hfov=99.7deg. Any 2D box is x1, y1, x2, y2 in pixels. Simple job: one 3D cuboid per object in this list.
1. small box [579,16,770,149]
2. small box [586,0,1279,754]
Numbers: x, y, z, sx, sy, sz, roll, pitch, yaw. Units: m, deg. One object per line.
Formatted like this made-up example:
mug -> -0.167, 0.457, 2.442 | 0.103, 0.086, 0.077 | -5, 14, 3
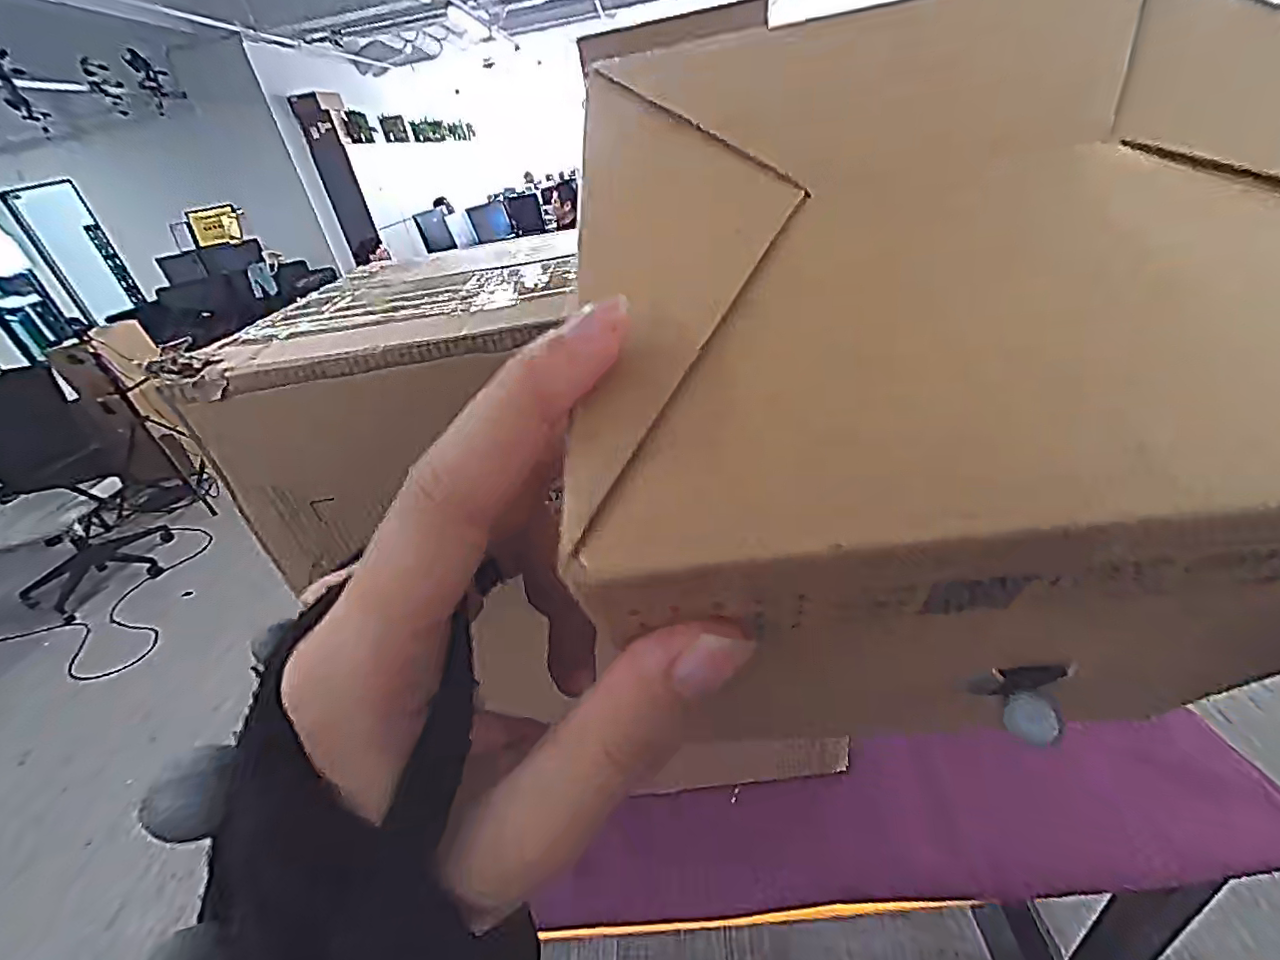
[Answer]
small box -> 0.042, -0.352, 0.572 | 0.168, 0.176, 0.179 | -8, 32, 6
small box -> 0.080, -0.019, 0.185 | 0.168, 0.176, 0.179 | -7, 56, 7
